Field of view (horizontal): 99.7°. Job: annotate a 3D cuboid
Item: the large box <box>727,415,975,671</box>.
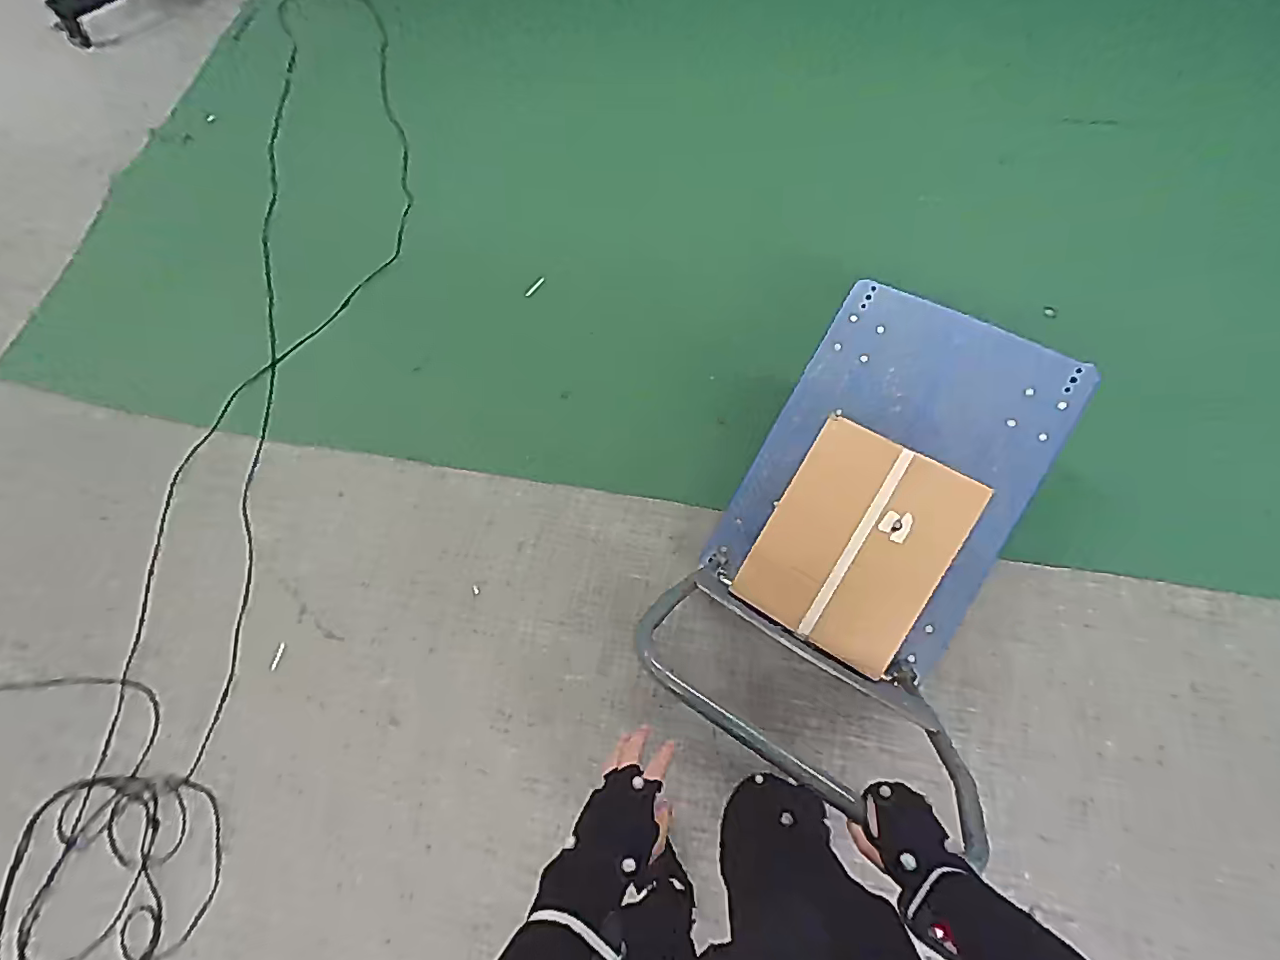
[{"bbox_3d":[0.434,0.133,1.181,0.320,0.320,0.408,31,92,16],"label":"large box"}]
